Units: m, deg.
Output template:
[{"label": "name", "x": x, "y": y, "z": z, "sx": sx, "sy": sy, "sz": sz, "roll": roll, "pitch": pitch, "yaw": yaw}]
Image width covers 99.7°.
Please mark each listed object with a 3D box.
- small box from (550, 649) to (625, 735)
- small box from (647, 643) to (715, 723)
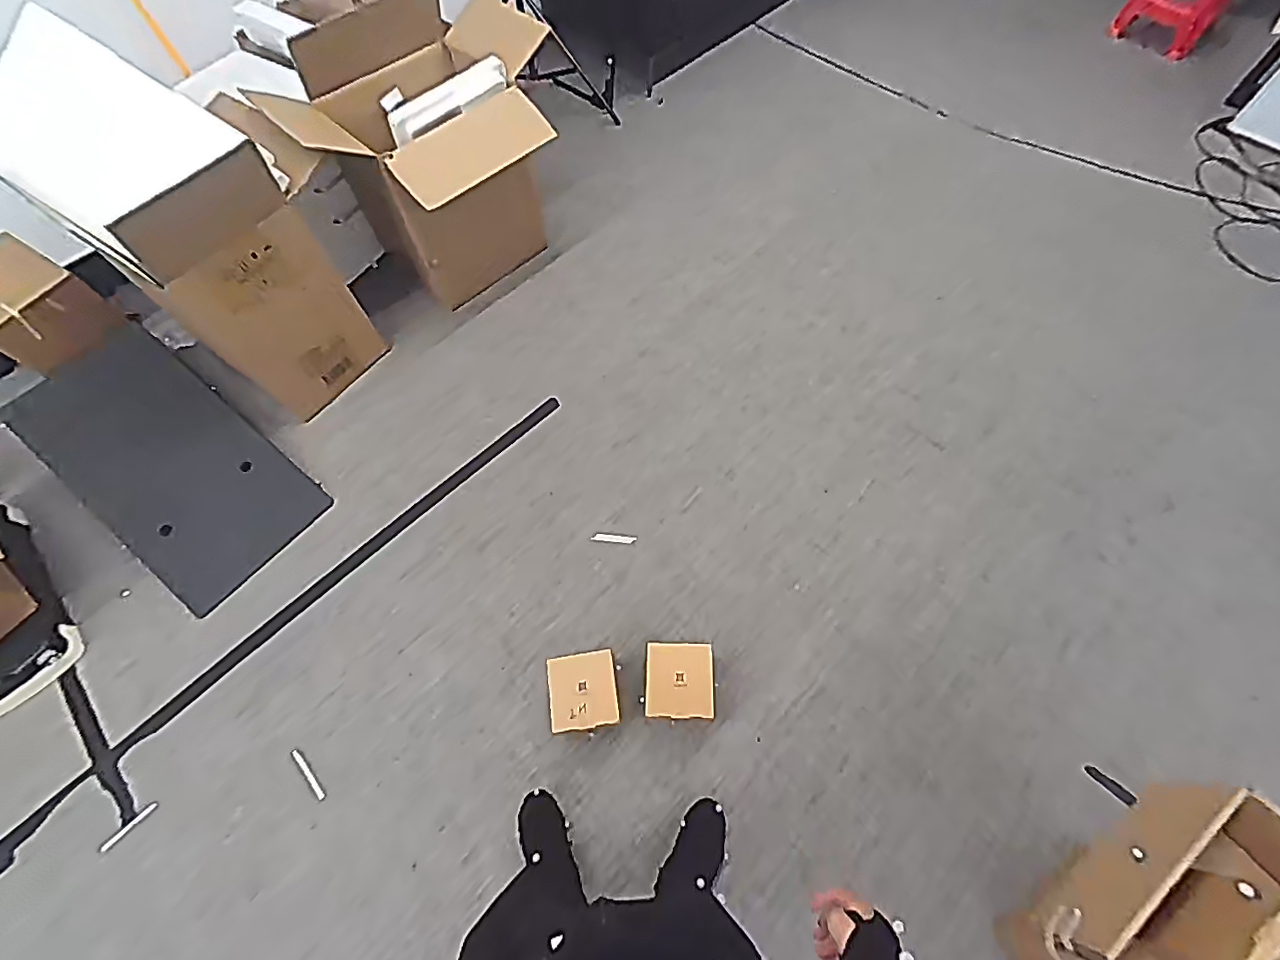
[{"label": "small box", "x": -0.134, "y": 0.551, "z": 1.394, "sx": 0.168, "sy": 0.176, "sz": 0.179, "roll": -9, "pitch": 63, "yaw": -1}, {"label": "small box", "x": 0.103, "y": 0.527, "z": 1.399, "sx": 0.168, "sy": 0.176, "sz": 0.179, "roll": 0, "pitch": 64, "yaw": 2}]
